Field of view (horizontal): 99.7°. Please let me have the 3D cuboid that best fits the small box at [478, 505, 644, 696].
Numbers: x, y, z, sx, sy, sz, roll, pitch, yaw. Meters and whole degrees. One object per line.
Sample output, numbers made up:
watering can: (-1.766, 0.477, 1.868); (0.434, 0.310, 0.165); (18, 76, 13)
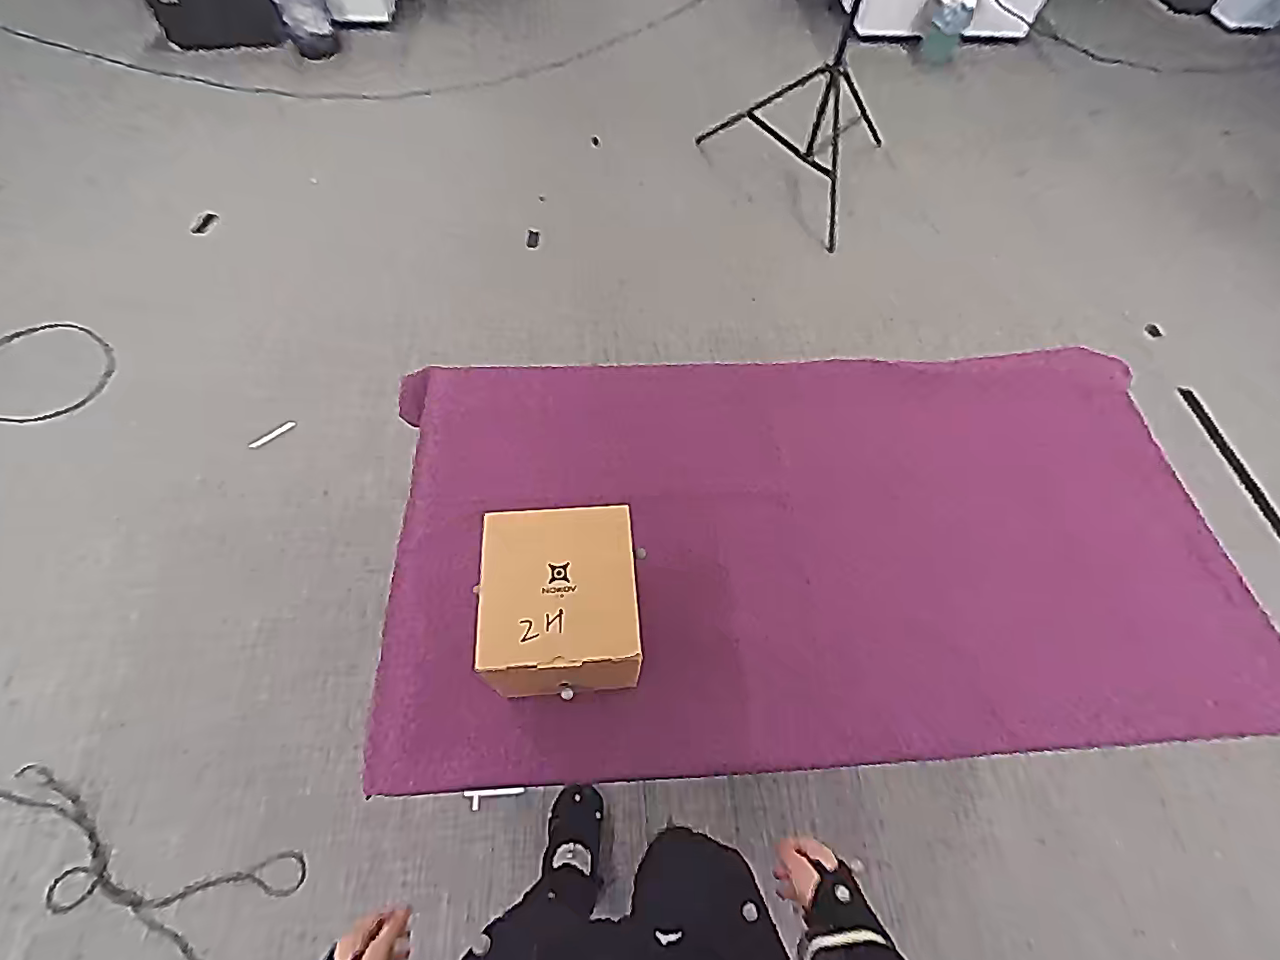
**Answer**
small box: (-0.087, 0.147, 0.645); (0.168, 0.176, 0.179); (-3, 60, -4)
